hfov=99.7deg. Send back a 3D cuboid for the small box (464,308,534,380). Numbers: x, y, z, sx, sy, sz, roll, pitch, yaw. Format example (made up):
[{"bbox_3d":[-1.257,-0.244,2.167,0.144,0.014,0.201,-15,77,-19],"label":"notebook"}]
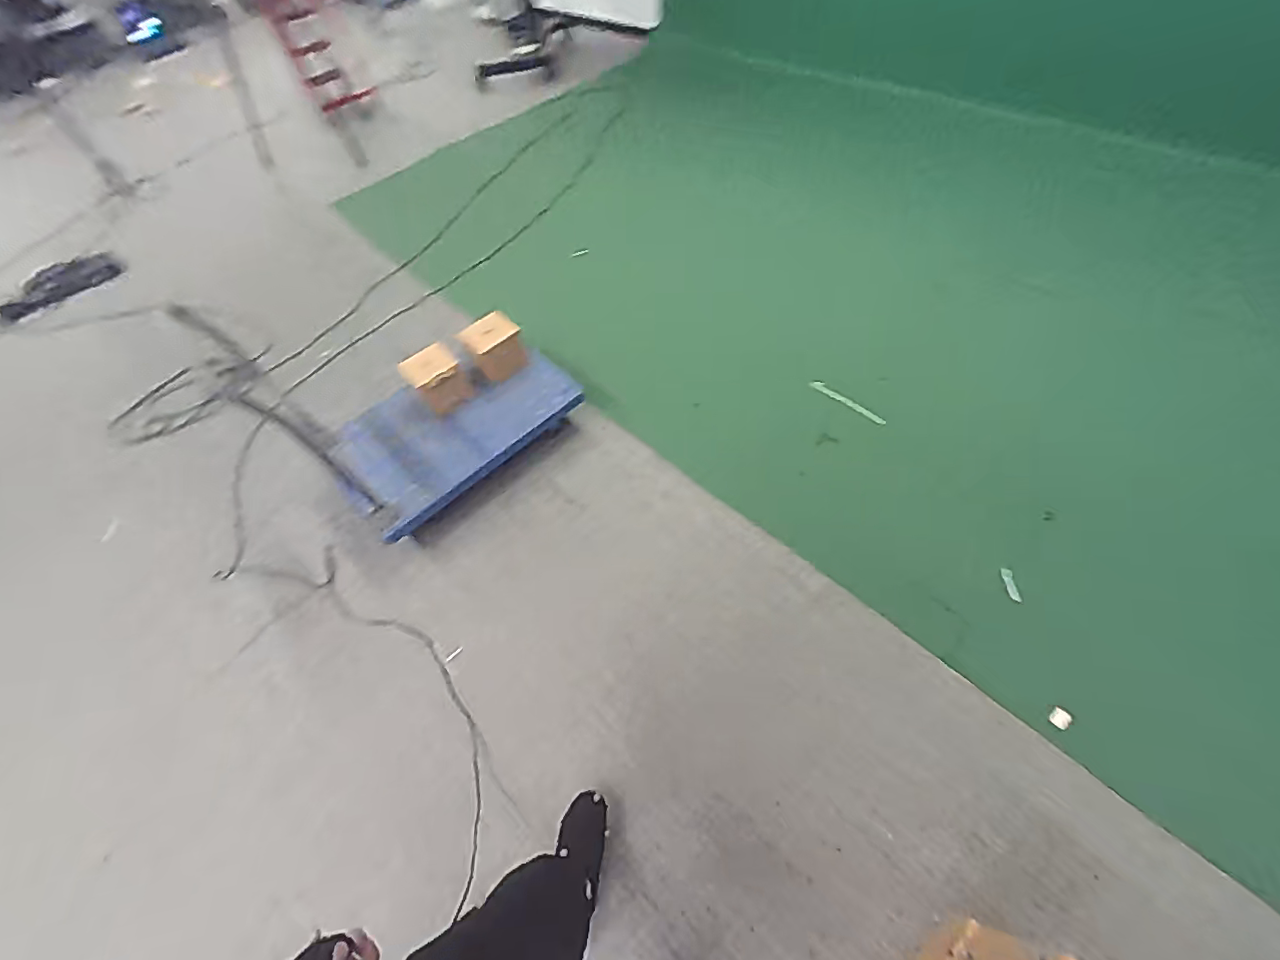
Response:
[{"bbox_3d":[-0.533,-0.515,2.061,0.179,0.176,0.168,-39,60,-18],"label":"small box"}]

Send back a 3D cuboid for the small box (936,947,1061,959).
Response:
[{"bbox_3d":[0.643,0.931,0.933,0.179,0.176,0.168,-8,53,1],"label":"small box"}]

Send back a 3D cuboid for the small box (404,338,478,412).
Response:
[{"bbox_3d":[-0.731,-0.386,1.995,0.168,0.176,0.179,-37,59,-17],"label":"small box"}]
